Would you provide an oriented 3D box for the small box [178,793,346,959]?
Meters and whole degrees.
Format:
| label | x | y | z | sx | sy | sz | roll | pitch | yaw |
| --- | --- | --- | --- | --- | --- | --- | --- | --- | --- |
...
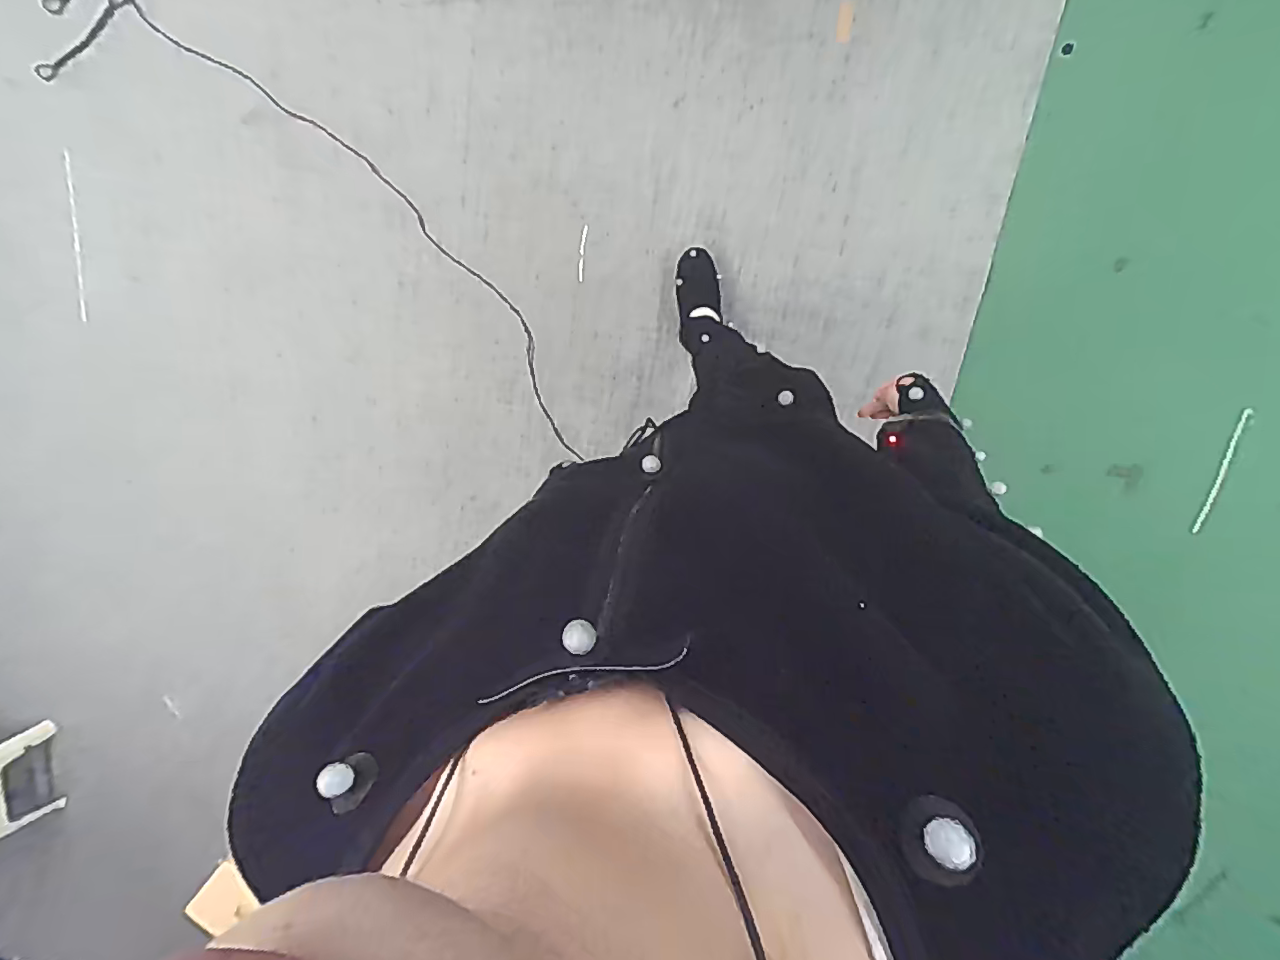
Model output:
| label | x | y | z | sx | sy | sz | roll | pitch | yaw |
| --- | --- | --- | --- | --- | --- | --- | --- | --- | --- |
| small box | -0.699 | 0.744 | 1.023 | 0.168 | 0.176 | 0.179 | 41 | 105 | -2 |
